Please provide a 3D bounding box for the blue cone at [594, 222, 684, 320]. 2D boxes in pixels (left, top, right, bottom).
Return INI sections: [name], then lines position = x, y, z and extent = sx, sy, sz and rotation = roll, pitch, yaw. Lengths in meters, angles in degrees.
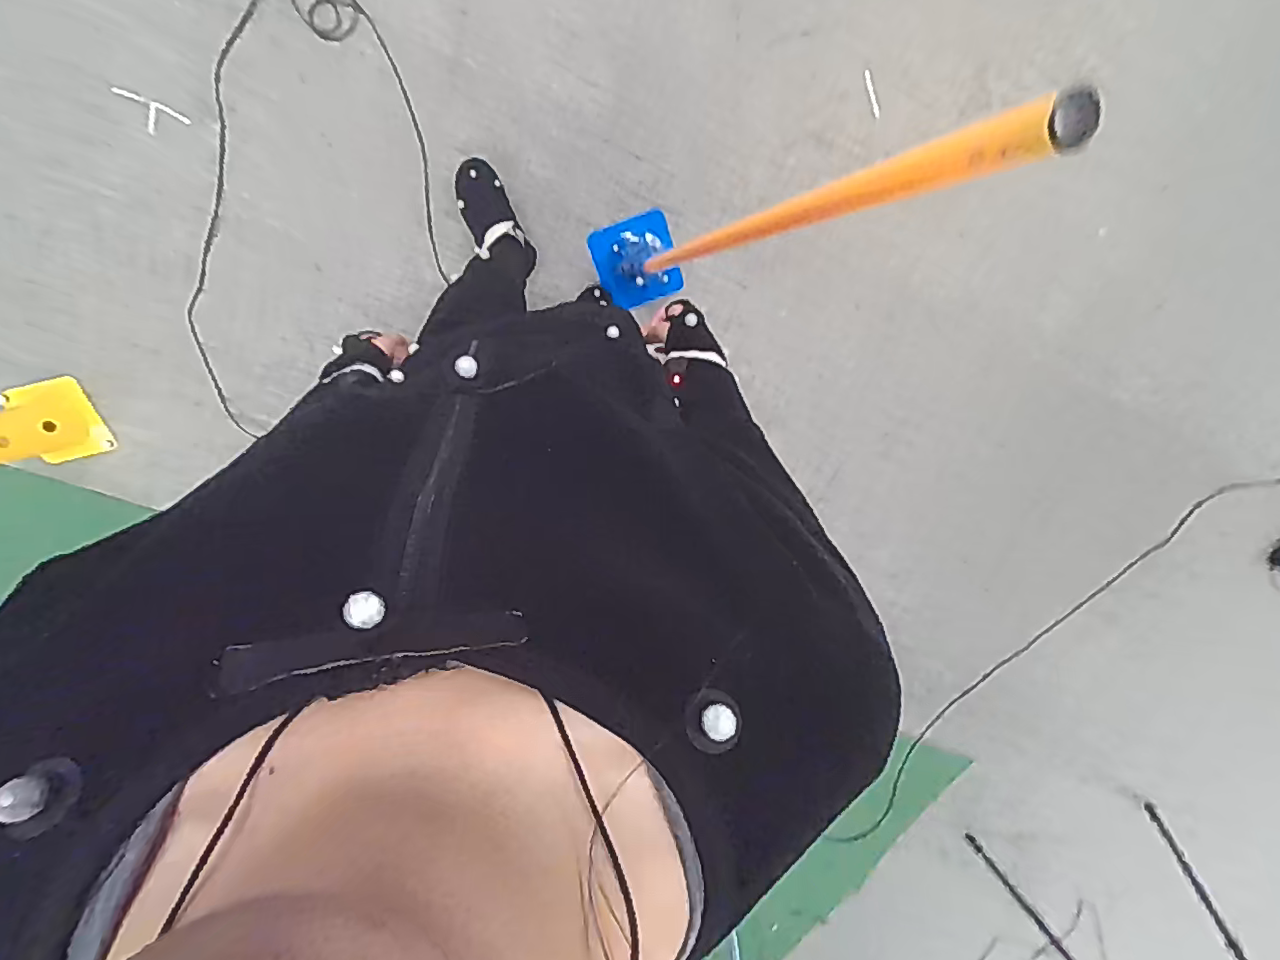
[blue cone]
position = 0.011, -0.447, 1.168
extent = 0.193, 0.380, 0.192
rotation = -21, 113, 4
